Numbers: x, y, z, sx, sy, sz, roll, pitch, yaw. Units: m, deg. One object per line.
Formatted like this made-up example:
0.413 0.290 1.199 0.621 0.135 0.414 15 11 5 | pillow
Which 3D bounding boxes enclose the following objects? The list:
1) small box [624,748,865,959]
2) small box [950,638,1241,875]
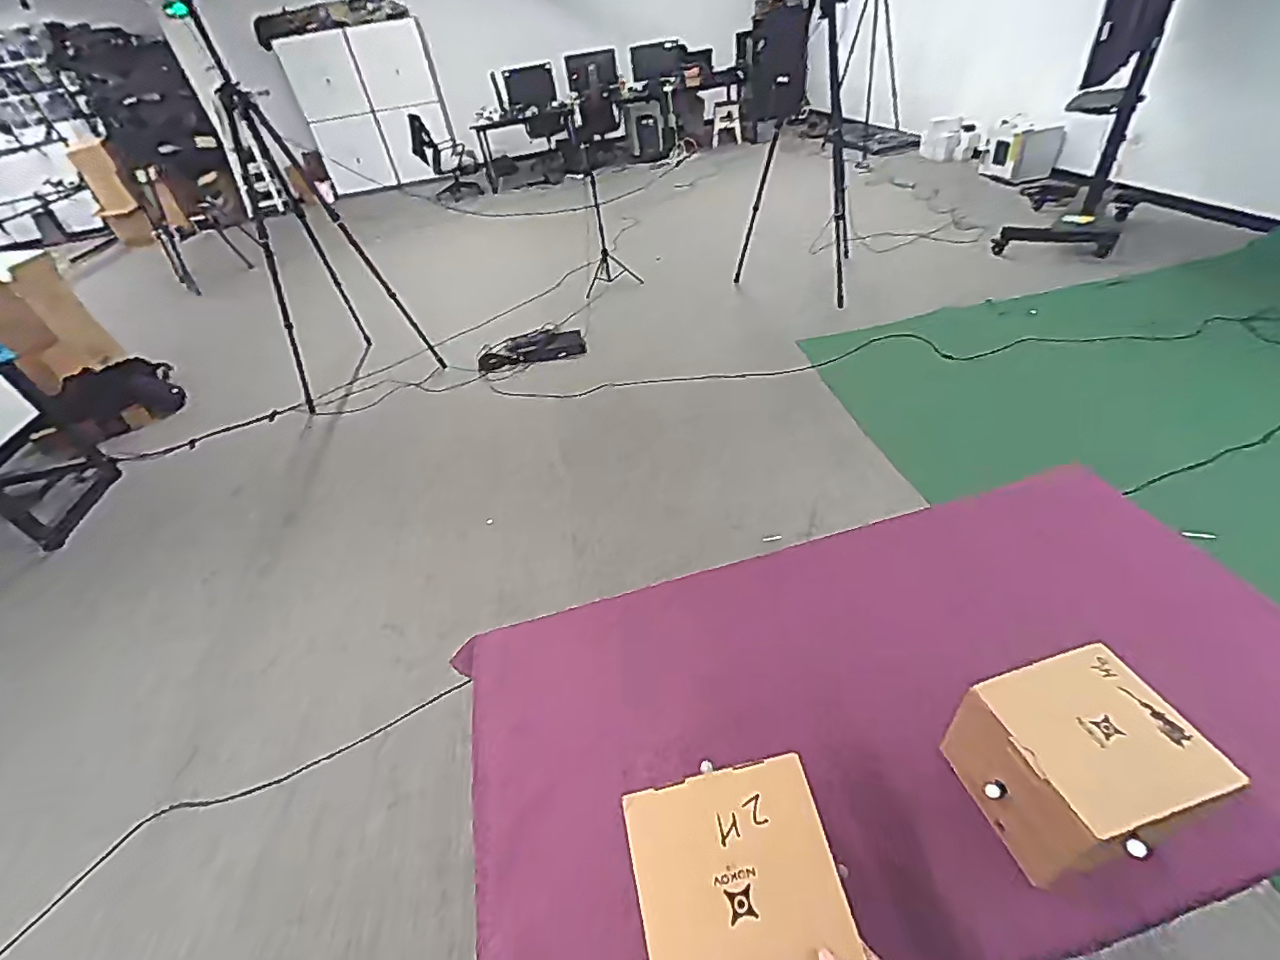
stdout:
0.090 0.369 0.510 0.168 0.176 0.179 -13 59 -1 | small box
0.490 0.318 0.622 0.179 0.176 0.168 -16 41 -5 | small box
